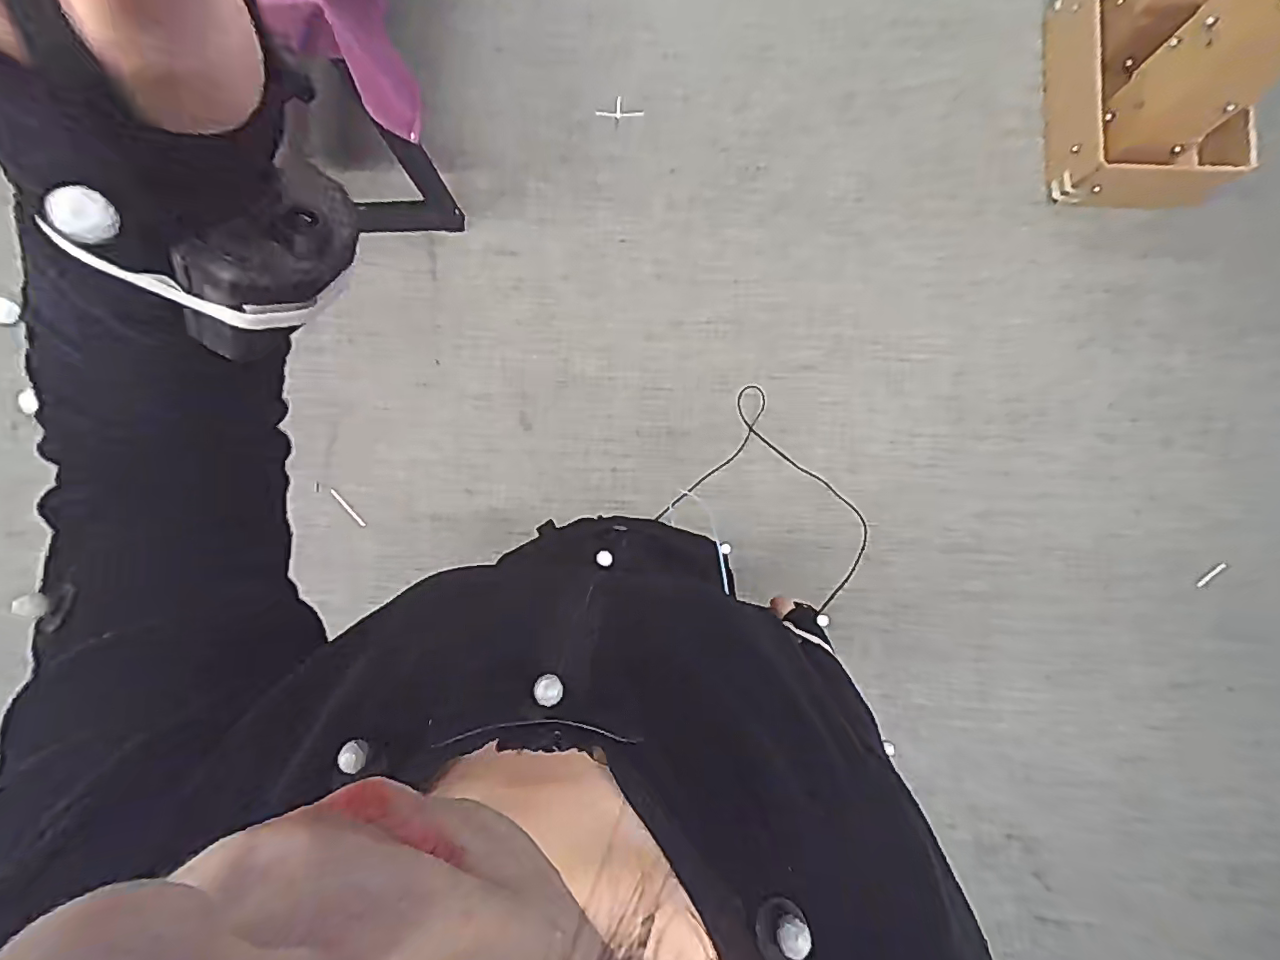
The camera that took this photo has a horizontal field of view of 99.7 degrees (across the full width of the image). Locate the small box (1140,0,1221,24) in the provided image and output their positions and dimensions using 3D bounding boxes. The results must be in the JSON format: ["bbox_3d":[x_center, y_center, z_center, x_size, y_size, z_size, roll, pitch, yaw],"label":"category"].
[{"bbox_3d":[1.378,-1.264,1.316,0.179,0.176,0.168,9,86,0],"label":"small box"}]
